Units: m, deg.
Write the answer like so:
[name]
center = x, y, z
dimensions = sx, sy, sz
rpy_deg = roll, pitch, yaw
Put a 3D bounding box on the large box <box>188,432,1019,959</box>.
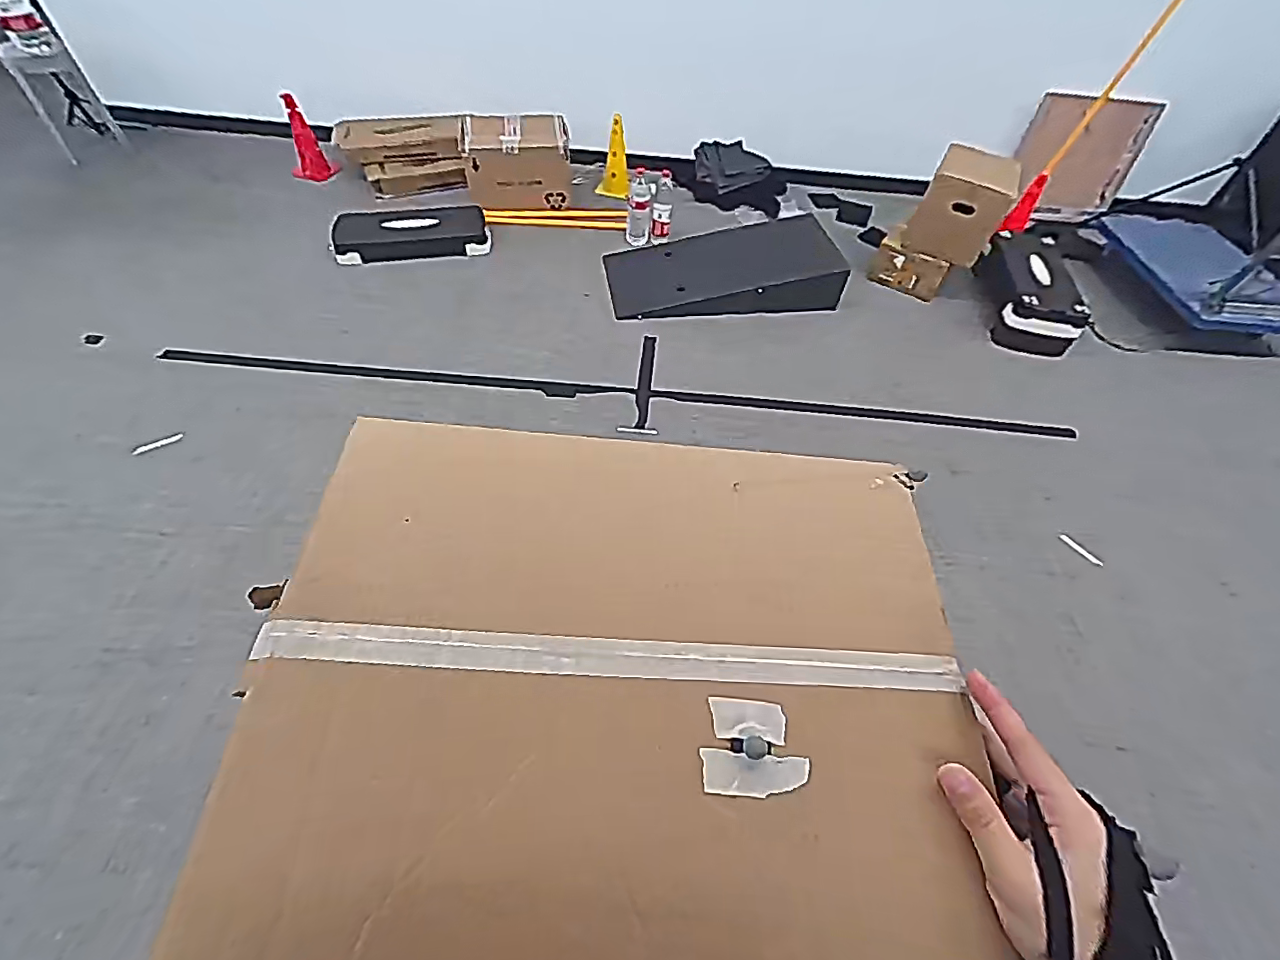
[large box]
center = -0.021, 0.185, 0.455
dimensions = 0.408, 0.320, 0.320
rpy_deg = 5, 59, -5
